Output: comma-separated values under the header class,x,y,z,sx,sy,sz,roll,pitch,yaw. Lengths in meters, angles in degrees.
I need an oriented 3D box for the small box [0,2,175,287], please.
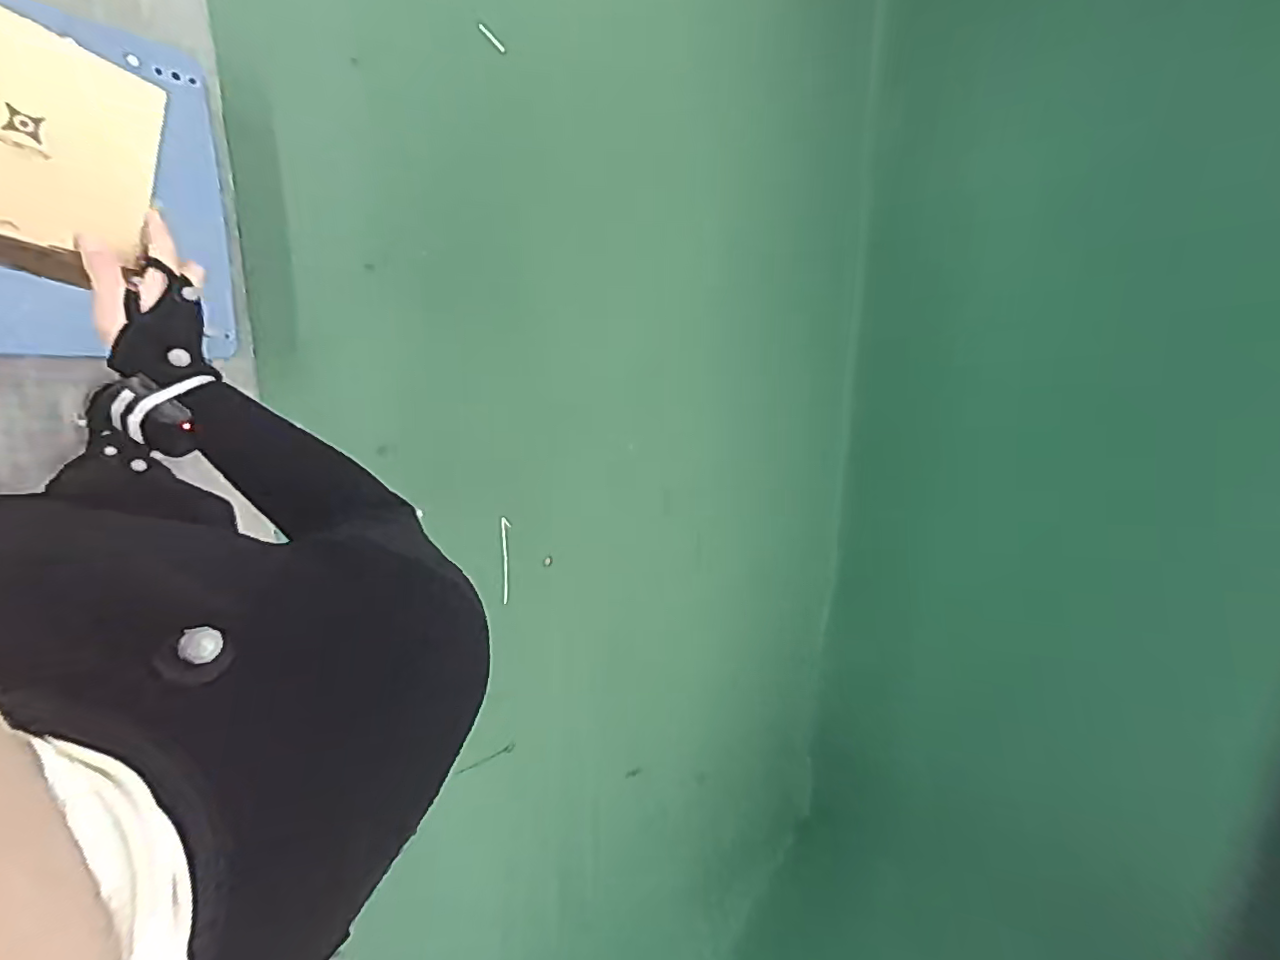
class,x,y,z,sx,sy,sz,roll,pitch,yaw
small box,-0.560,-0.293,0.488,0.168,0.176,0.179,8,91,-54
